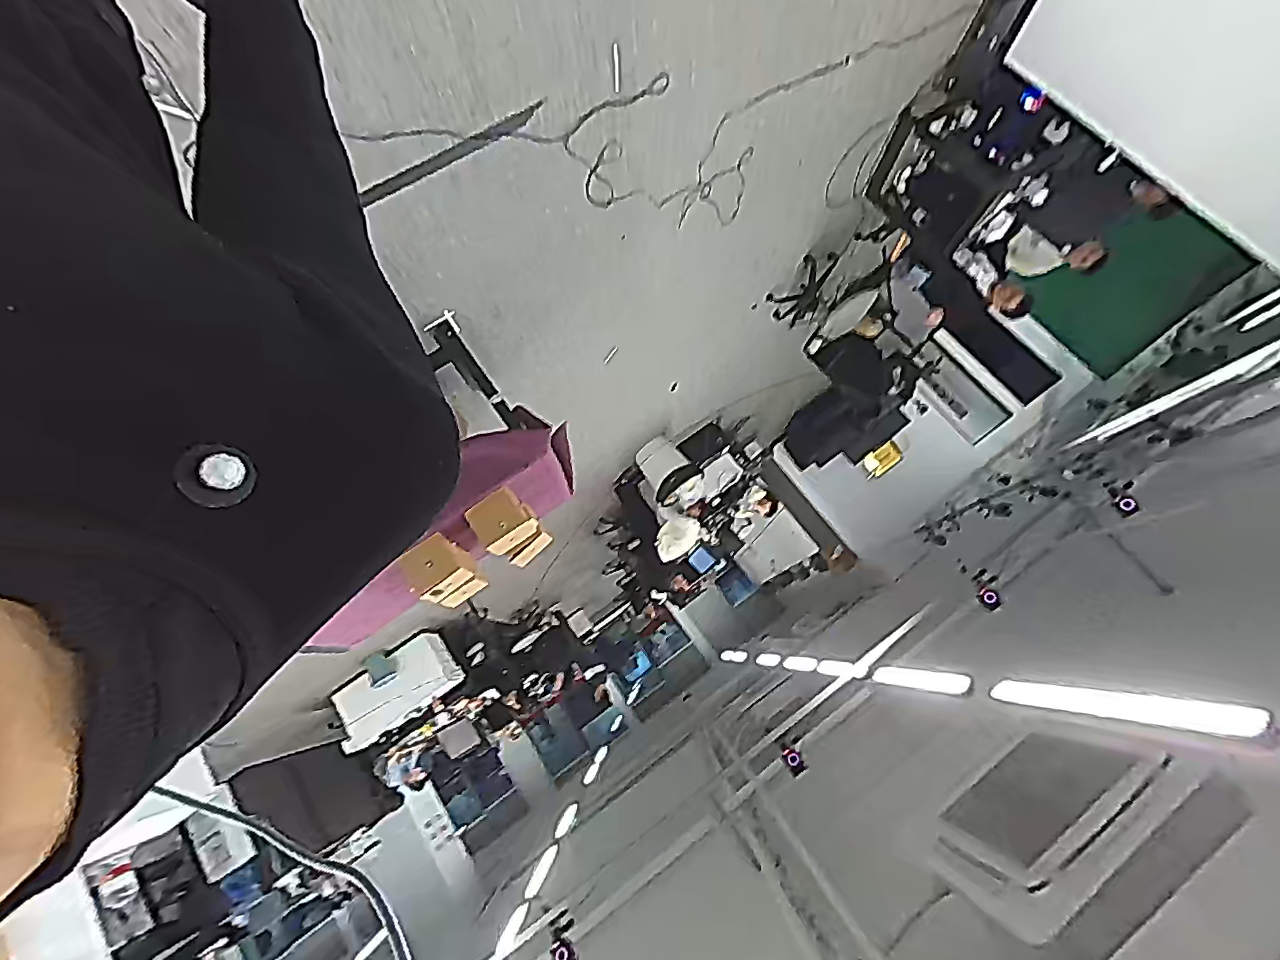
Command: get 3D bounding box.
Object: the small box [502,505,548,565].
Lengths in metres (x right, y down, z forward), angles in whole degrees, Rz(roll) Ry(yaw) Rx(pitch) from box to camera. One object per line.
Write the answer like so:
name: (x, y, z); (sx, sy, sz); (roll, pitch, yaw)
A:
small box: (-0.512, 0.225, 2.240); (0.179, 0.176, 0.168); (-35, 164, -7)

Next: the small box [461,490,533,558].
small box: (-0.530, 0.160, 2.008); (0.179, 0.176, 0.168); (-35, 165, -9)
